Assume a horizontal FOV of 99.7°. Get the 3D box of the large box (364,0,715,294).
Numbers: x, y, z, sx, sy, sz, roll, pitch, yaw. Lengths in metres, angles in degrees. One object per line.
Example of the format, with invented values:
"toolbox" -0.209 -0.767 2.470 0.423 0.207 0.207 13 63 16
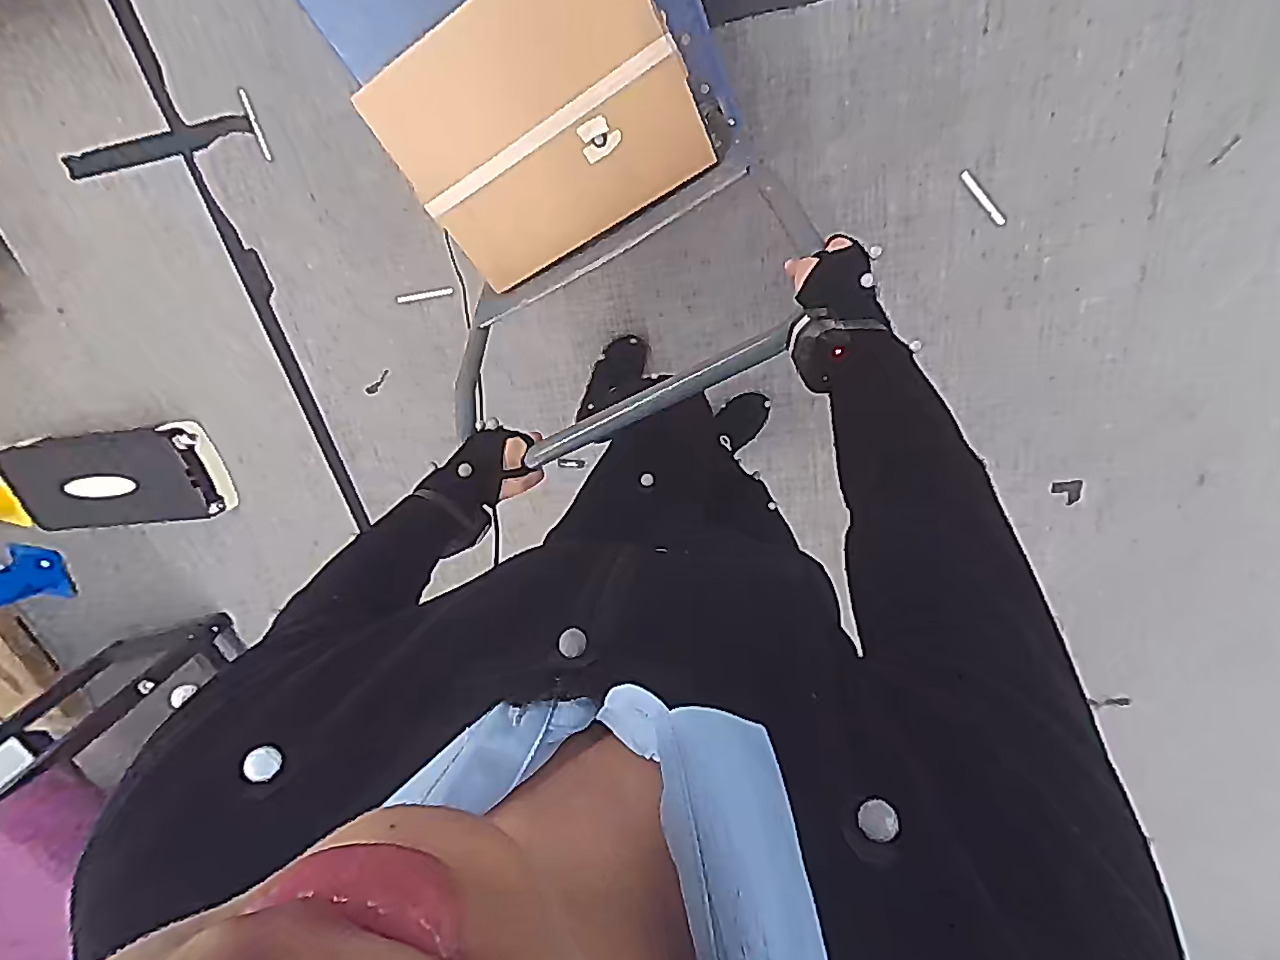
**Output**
"large box" -0.142 -0.583 0.873 0.408 0.320 0.320 -25 129 16
